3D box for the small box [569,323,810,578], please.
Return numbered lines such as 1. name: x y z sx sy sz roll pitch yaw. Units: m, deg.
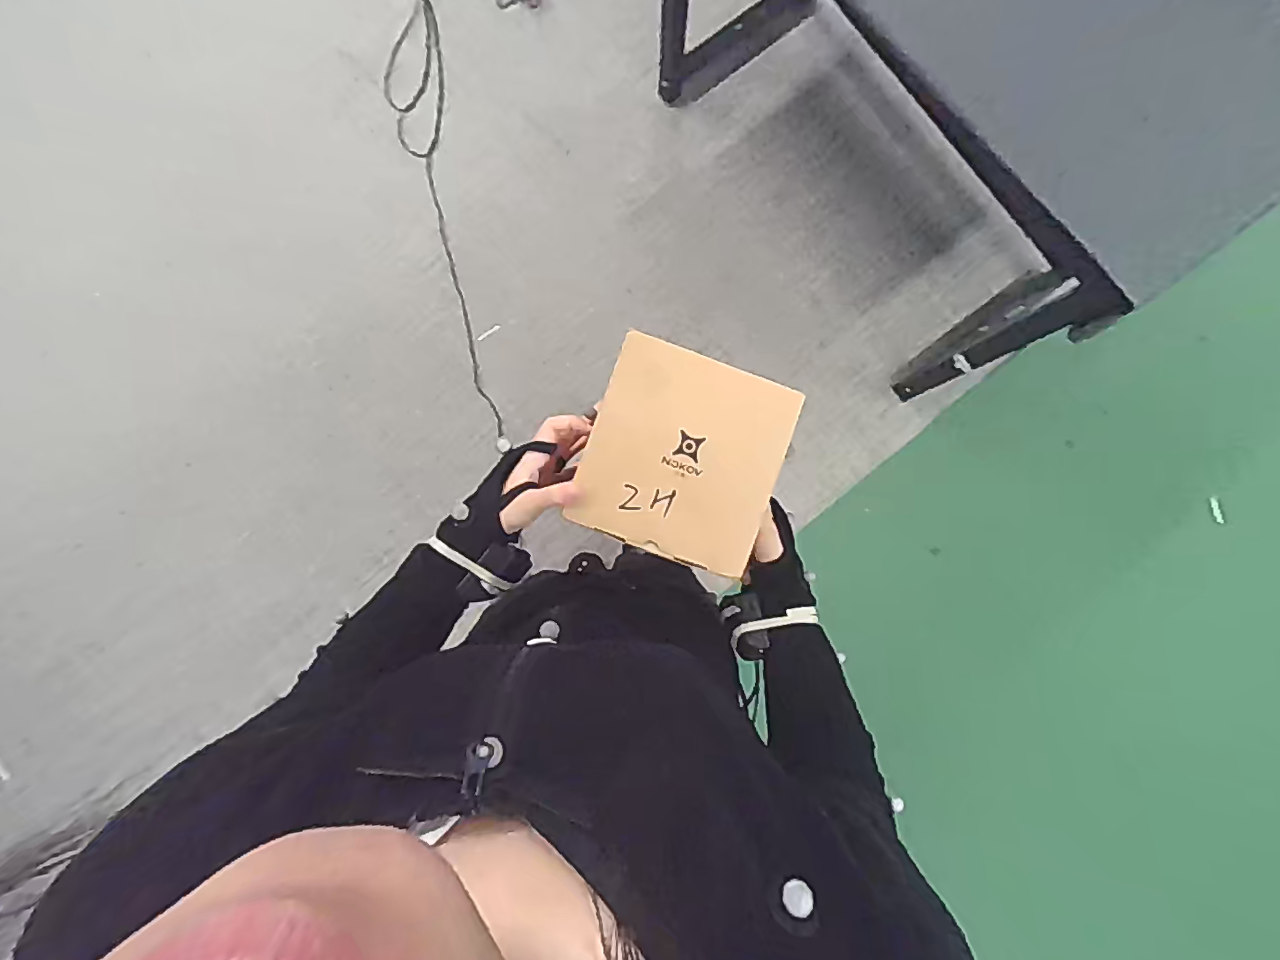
1. small box: 0.037 -0.023 0.534 0.168 0.176 0.179 19 87 -3
